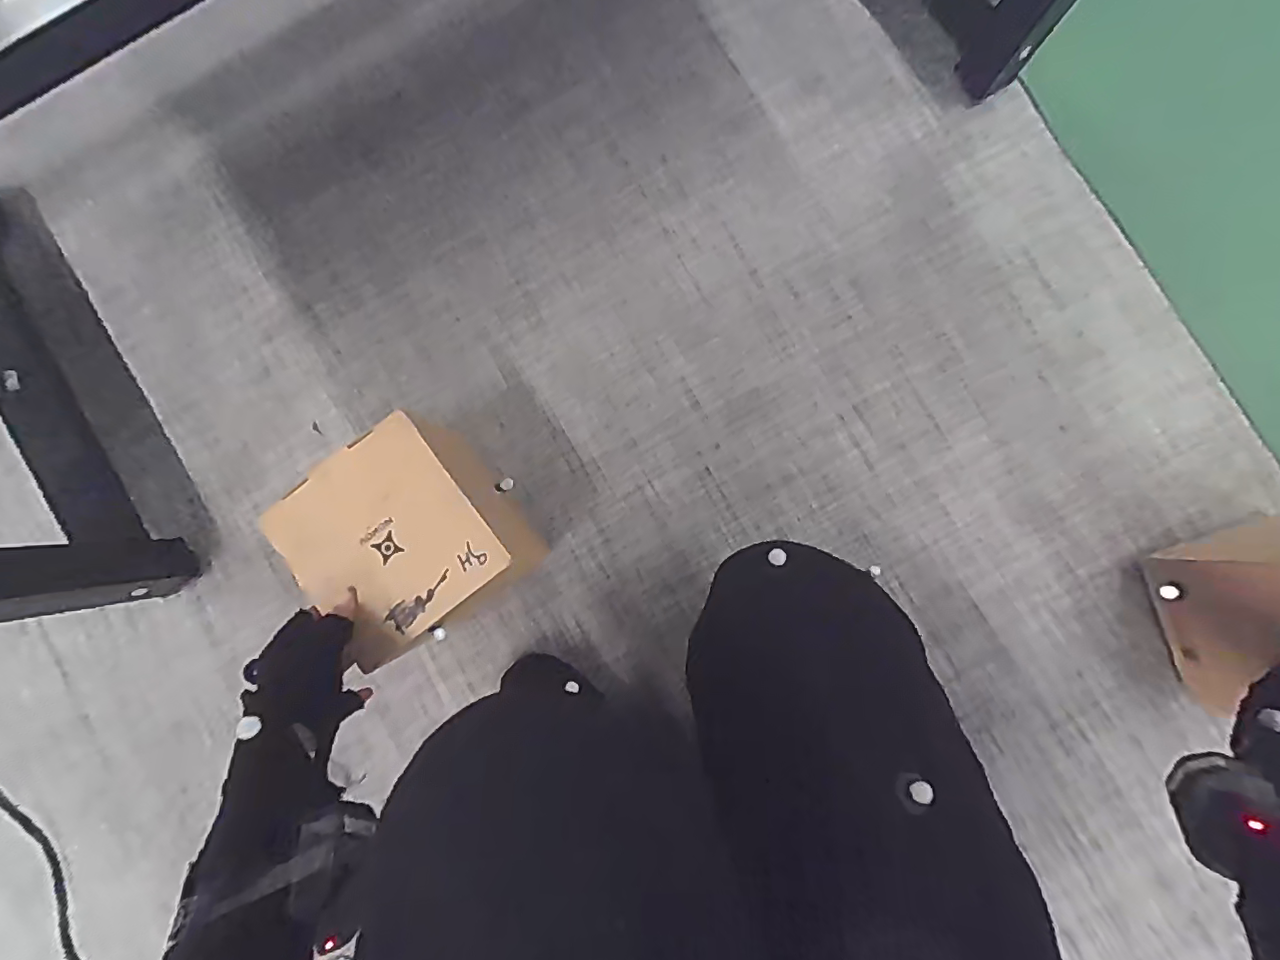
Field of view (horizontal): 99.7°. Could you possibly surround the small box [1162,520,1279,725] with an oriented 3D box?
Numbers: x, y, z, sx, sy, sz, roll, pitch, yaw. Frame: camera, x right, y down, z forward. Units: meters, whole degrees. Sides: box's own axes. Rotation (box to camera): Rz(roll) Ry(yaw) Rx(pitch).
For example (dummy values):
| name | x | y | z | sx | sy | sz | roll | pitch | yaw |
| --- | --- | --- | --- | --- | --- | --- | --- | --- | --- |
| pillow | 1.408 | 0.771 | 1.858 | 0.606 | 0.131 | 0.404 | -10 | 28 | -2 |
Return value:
| name | x | y | z | sx | sy | sz | roll | pitch | yaw |
| --- | --- | --- | --- | --- | --- | --- | --- | --- | --- |
| small box | 0.654 | 0.134 | 0.506 | 0.179 | 0.176 | 0.168 | -17 | 85 | -5 |
